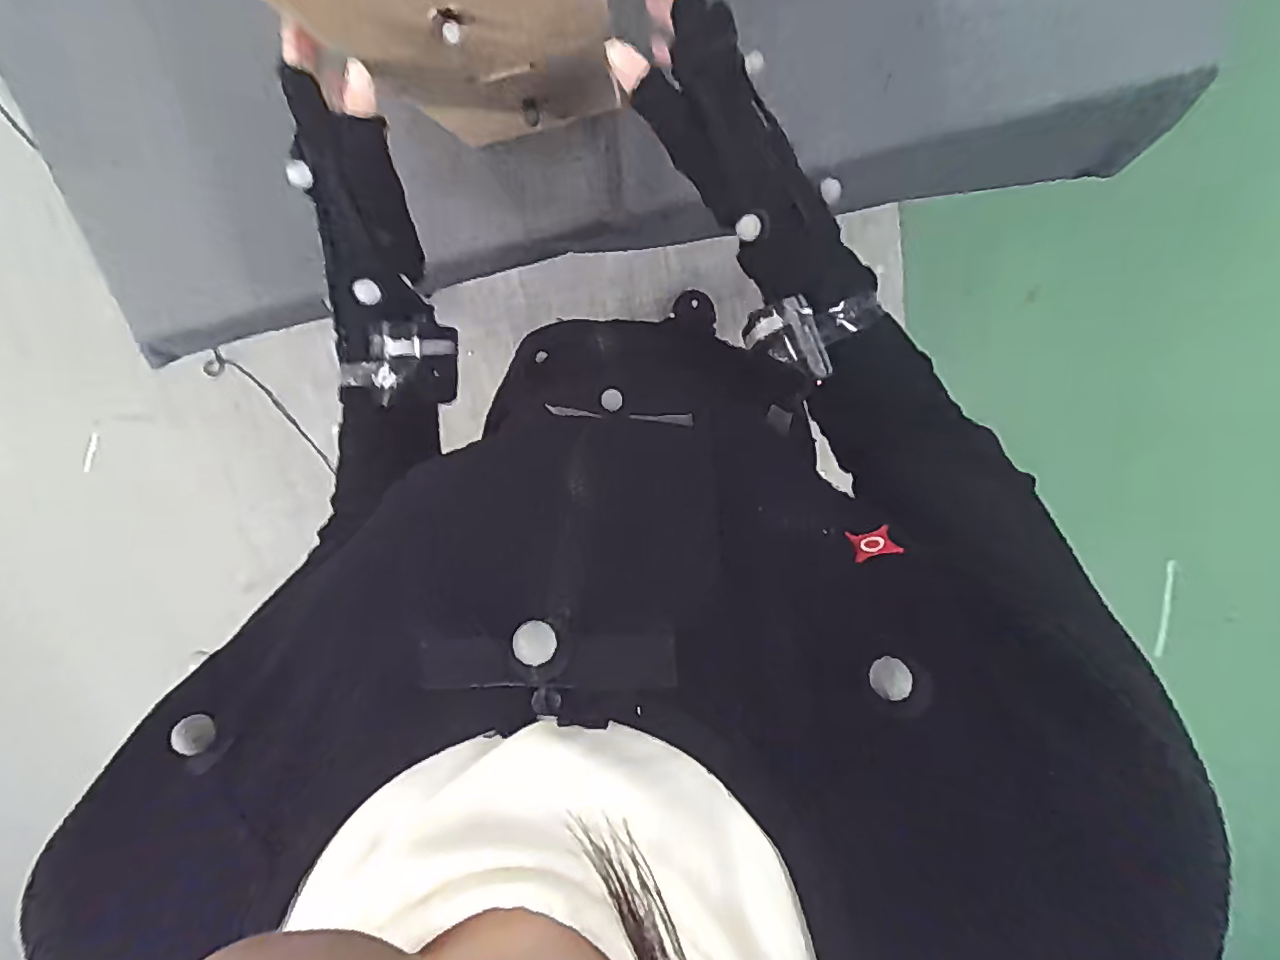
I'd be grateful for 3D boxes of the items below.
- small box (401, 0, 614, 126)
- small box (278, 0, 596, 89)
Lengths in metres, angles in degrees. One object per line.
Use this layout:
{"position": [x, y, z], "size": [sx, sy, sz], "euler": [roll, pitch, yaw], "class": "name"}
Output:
{"position": [-0.125, -0.431, 0.467], "size": [0.168, 0.176, 0.179], "euler": [-10, 110, 7], "class": "small box"}
{"position": [-0.126, -0.368, 0.314], "size": [0.179, 0.176, 0.168], "euler": [-13, 109, 7], "class": "small box"}
